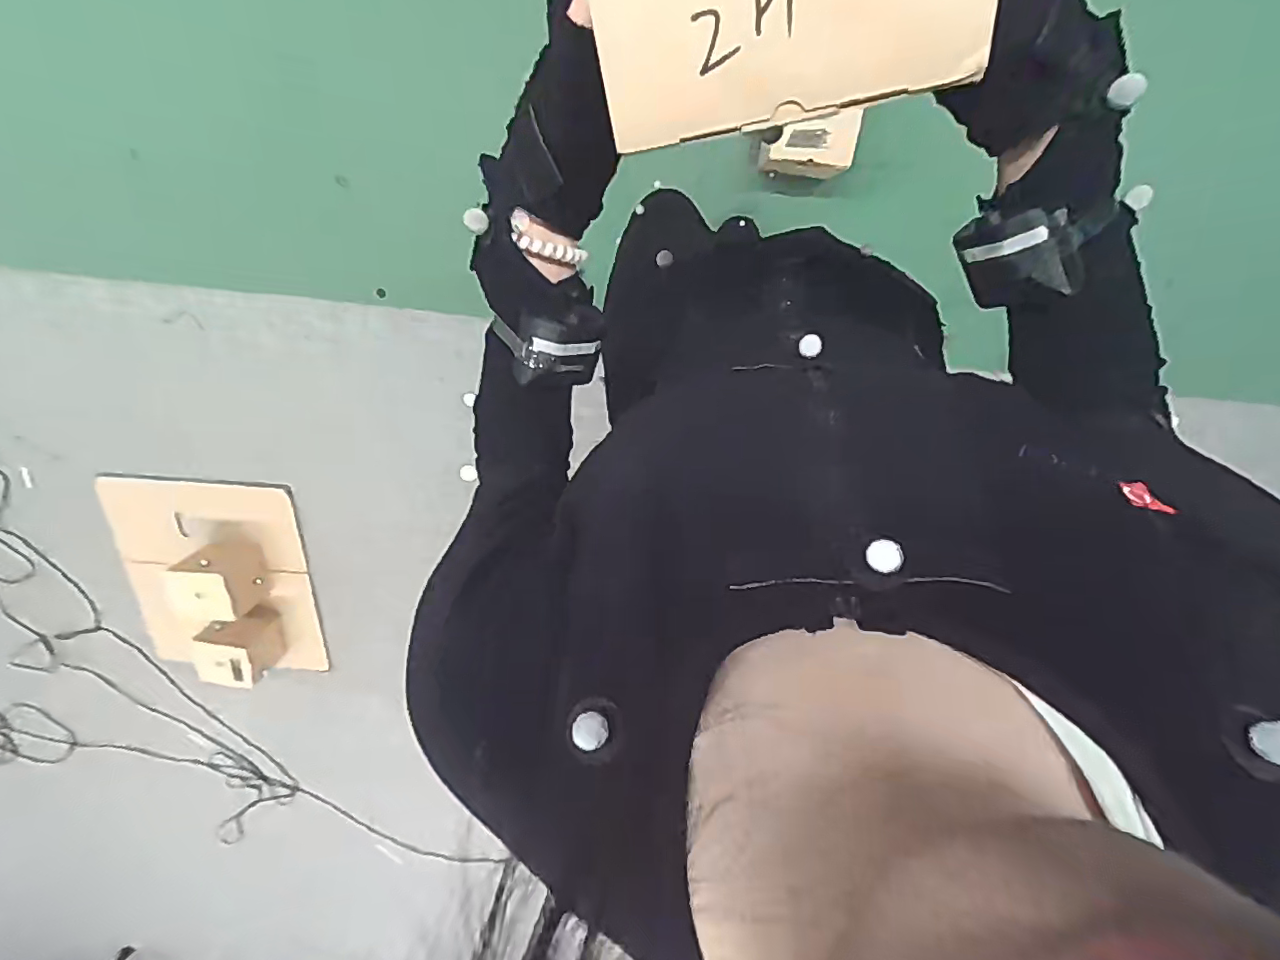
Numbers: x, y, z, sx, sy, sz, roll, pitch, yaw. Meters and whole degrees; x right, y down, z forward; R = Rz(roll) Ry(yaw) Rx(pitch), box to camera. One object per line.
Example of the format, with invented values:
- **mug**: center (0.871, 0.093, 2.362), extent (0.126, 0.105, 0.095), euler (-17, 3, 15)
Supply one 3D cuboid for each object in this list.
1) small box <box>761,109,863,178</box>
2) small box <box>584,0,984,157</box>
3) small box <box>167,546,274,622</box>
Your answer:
- **small box**: center (0.354, -0.741, 1.121), extent (0.168, 0.176, 0.179), euler (7, 112, 0)
- **small box**: center (0.059, -0.281, 0.267), extent (0.168, 0.176, 0.179), euler (-5, 126, 13)
- **small box**: center (-1.265, 0.311, 1.642), extent (0.179, 0.176, 0.168), euler (2, 112, 2)
